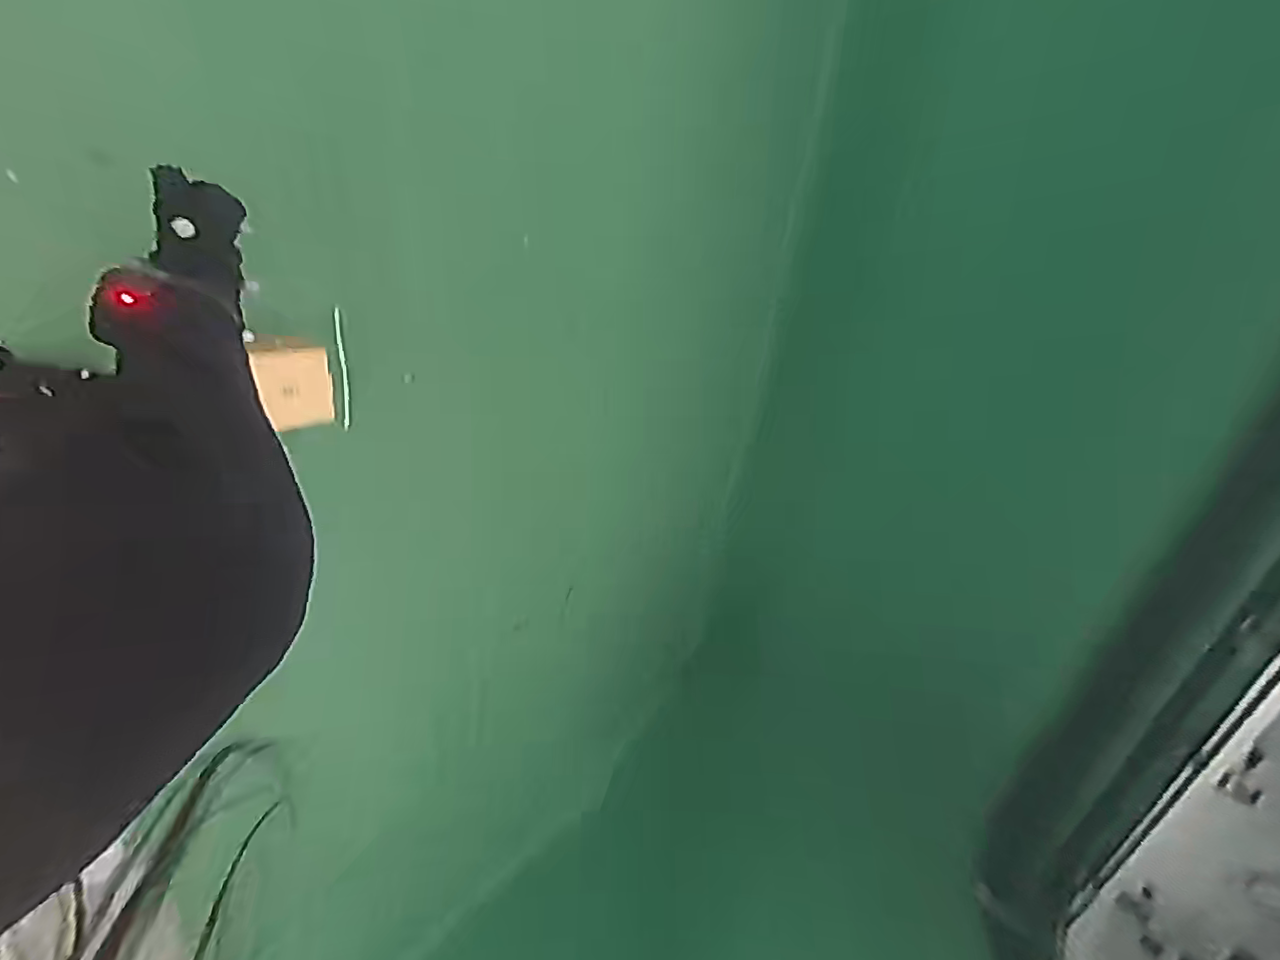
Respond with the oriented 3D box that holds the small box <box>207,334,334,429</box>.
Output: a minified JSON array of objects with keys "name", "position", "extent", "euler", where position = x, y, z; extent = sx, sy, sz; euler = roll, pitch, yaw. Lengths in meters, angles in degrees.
[{"name":"small box","position":[-0.815,-0.226,1.199],"extent":[0.179,0.176,0.168],"euler":[-21,126,-49]}]
